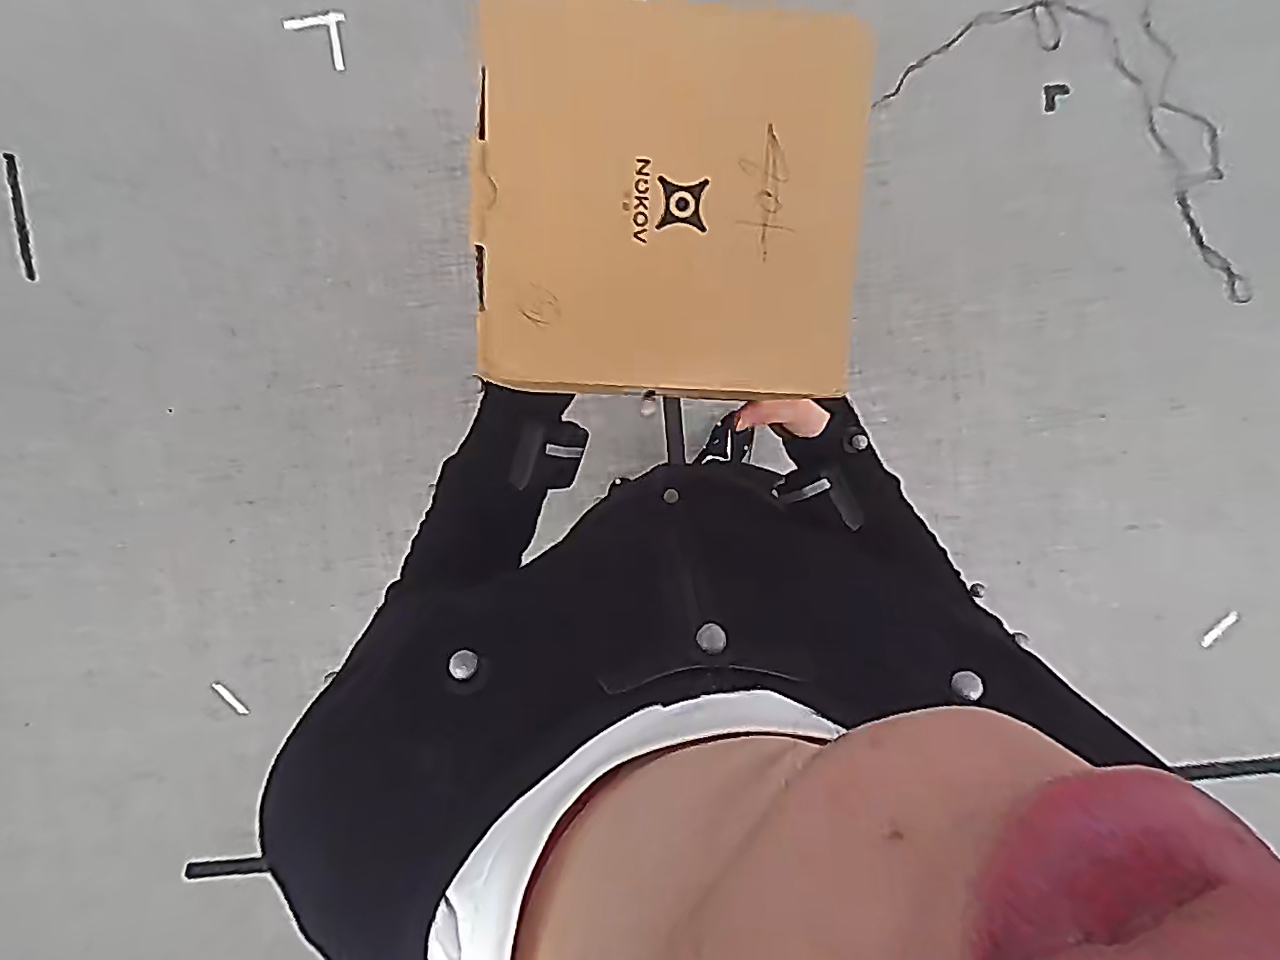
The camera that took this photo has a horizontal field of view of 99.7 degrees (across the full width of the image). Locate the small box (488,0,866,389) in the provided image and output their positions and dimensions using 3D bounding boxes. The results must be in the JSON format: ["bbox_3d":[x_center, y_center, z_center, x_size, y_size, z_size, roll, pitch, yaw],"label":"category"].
[{"bbox_3d":[0.011,-0.144,0.336,0.179,0.176,0.168,1,99,-5],"label":"small box"}]
